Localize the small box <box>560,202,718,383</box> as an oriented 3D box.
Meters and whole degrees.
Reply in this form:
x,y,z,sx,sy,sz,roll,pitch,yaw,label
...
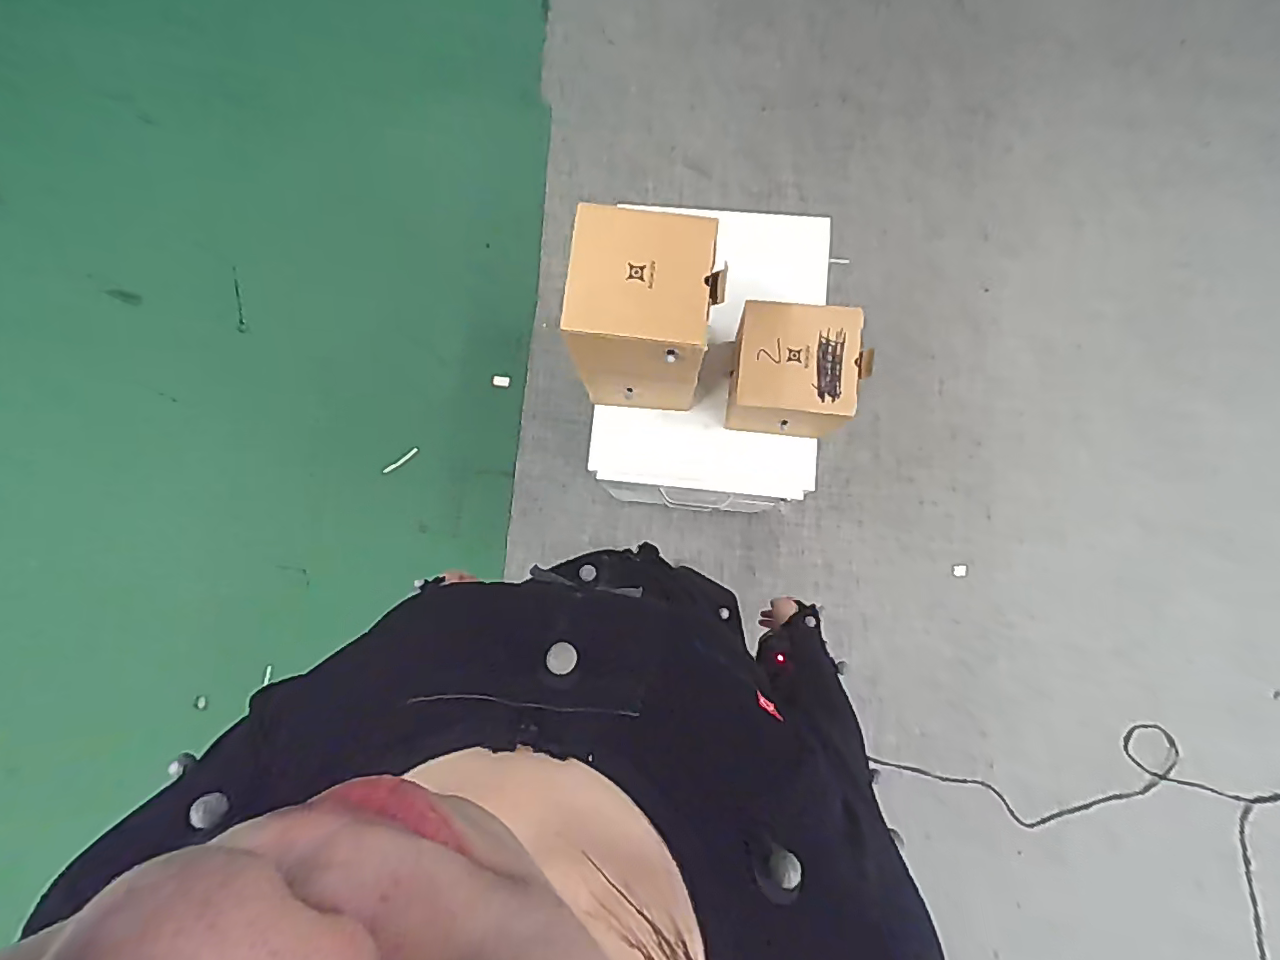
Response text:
x,y,z,sx,sy,sz,roll,pitch,yaw,label
-0.001,-0.239,0.726,0.179,0.176,0.168,7,82,0,small box

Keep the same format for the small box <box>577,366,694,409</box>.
x,y,z,sx,sy,sz,roll,pitch,yaw,label
0.001,-0.220,0.889,0.179,0.176,0.168,4,83,2,small box
